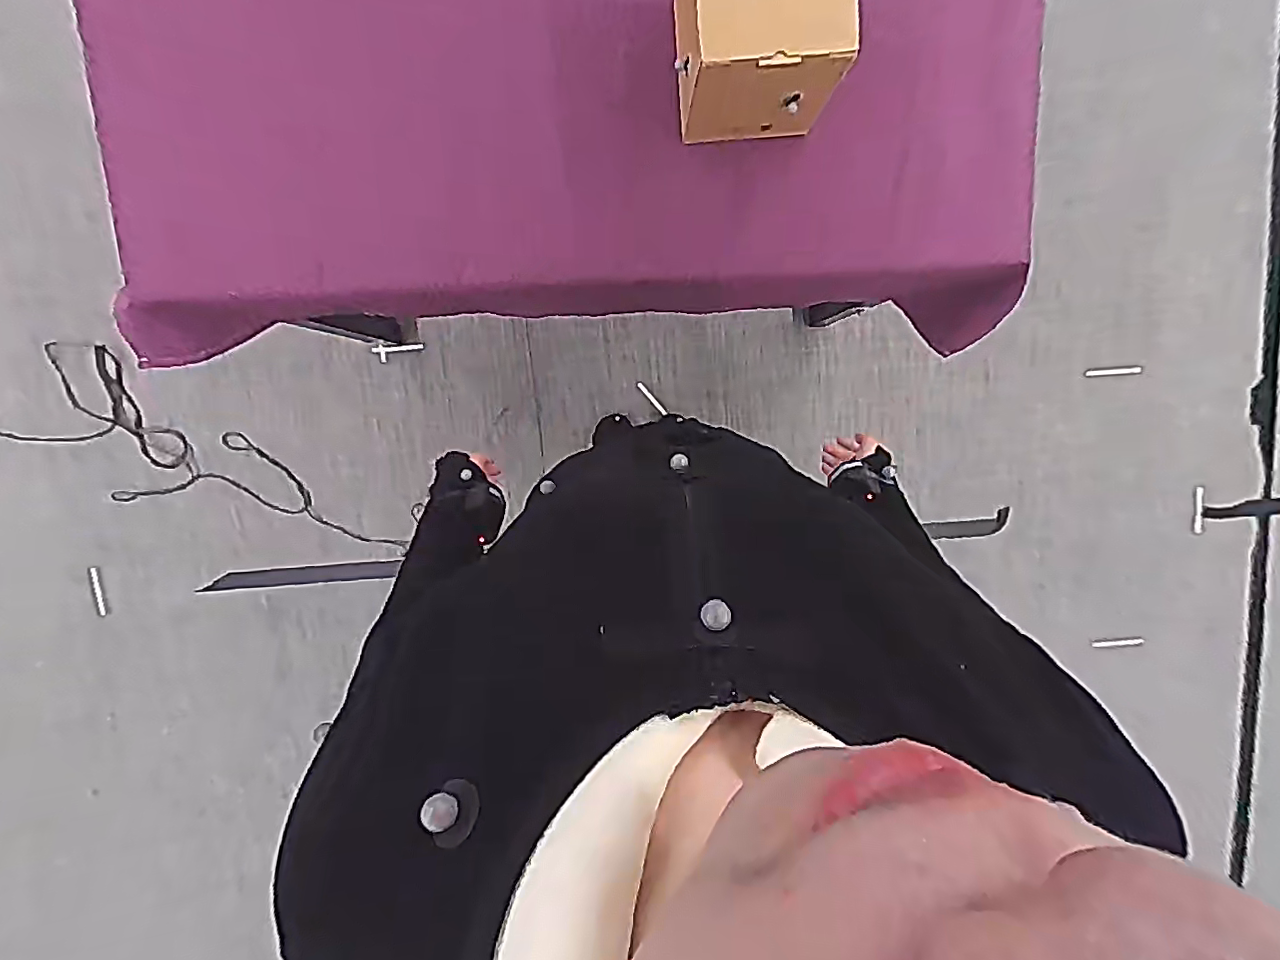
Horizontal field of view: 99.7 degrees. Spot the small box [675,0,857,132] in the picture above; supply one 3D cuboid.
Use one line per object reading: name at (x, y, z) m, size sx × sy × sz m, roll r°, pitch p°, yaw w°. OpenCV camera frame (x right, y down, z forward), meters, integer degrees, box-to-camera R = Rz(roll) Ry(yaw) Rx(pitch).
small box at (0.132, -0.523, 0.615) m, size 0.168 × 0.176 × 0.179 m, roll -4°, pitch 98°, yaw -2°
